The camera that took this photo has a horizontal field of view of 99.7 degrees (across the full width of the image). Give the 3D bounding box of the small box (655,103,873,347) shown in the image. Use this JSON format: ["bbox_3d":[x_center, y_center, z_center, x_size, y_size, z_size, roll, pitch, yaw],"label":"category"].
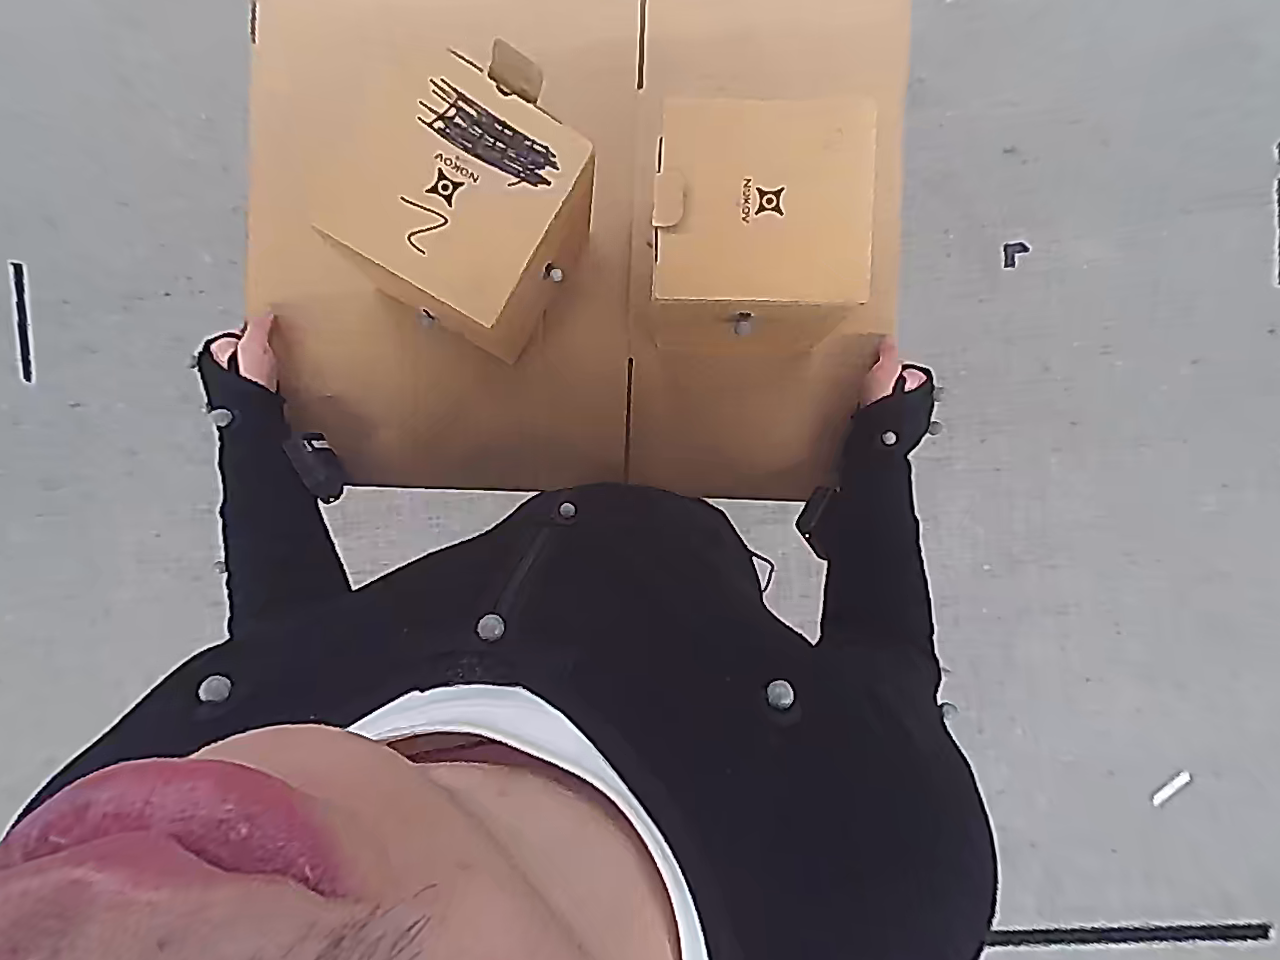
[{"bbox_3d":[0.107,-0.232,0.532,0.179,0.176,0.168,2,91,4],"label":"small box"}]
